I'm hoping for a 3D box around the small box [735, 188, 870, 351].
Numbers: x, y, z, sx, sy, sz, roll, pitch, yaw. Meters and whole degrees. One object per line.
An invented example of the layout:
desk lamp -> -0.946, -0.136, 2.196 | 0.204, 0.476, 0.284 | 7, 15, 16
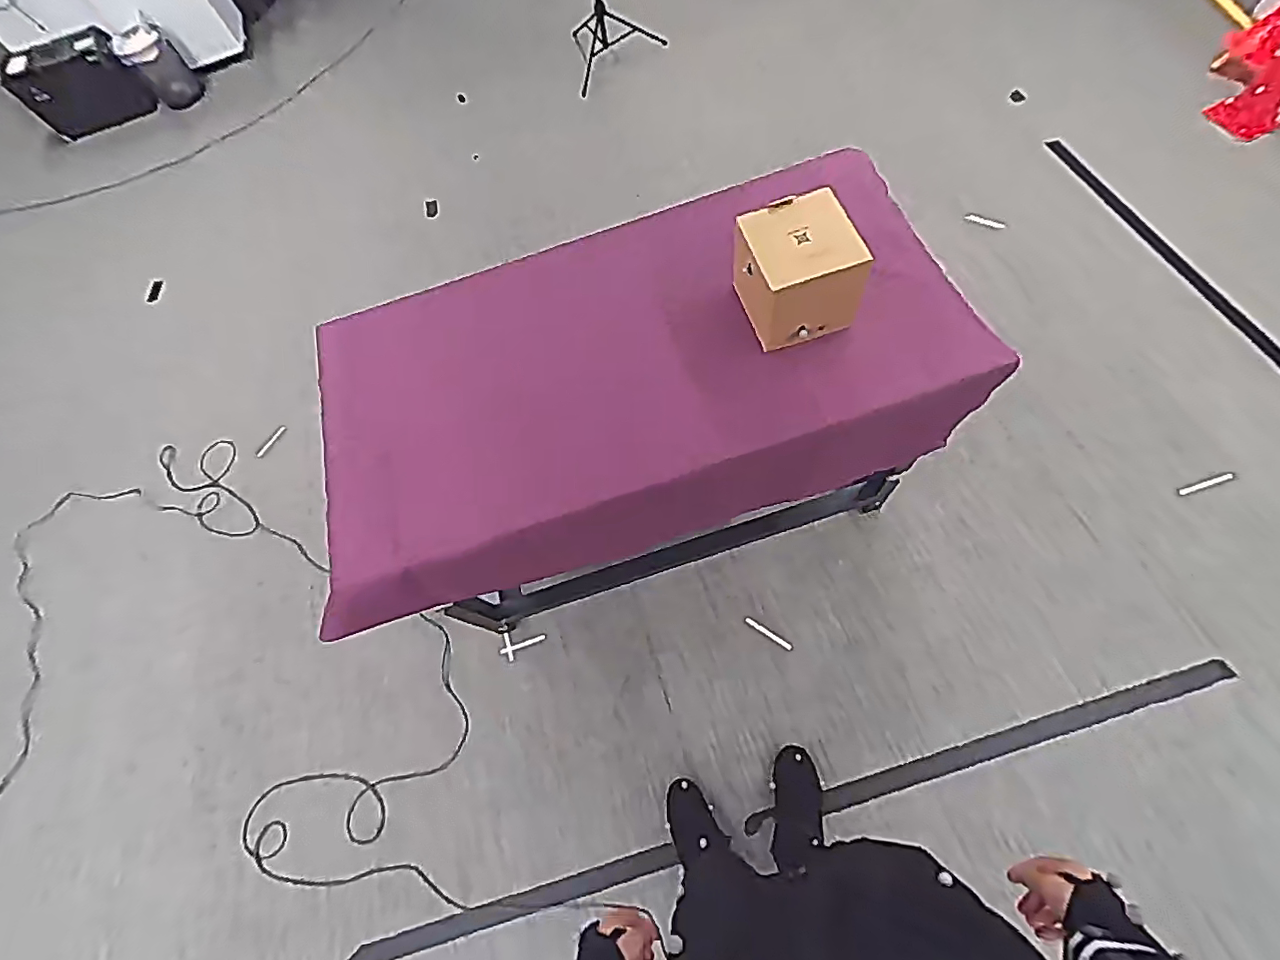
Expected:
small box -> 0.267, -0.358, 0.938 | 0.168, 0.176, 0.179 | -17, 66, 2
